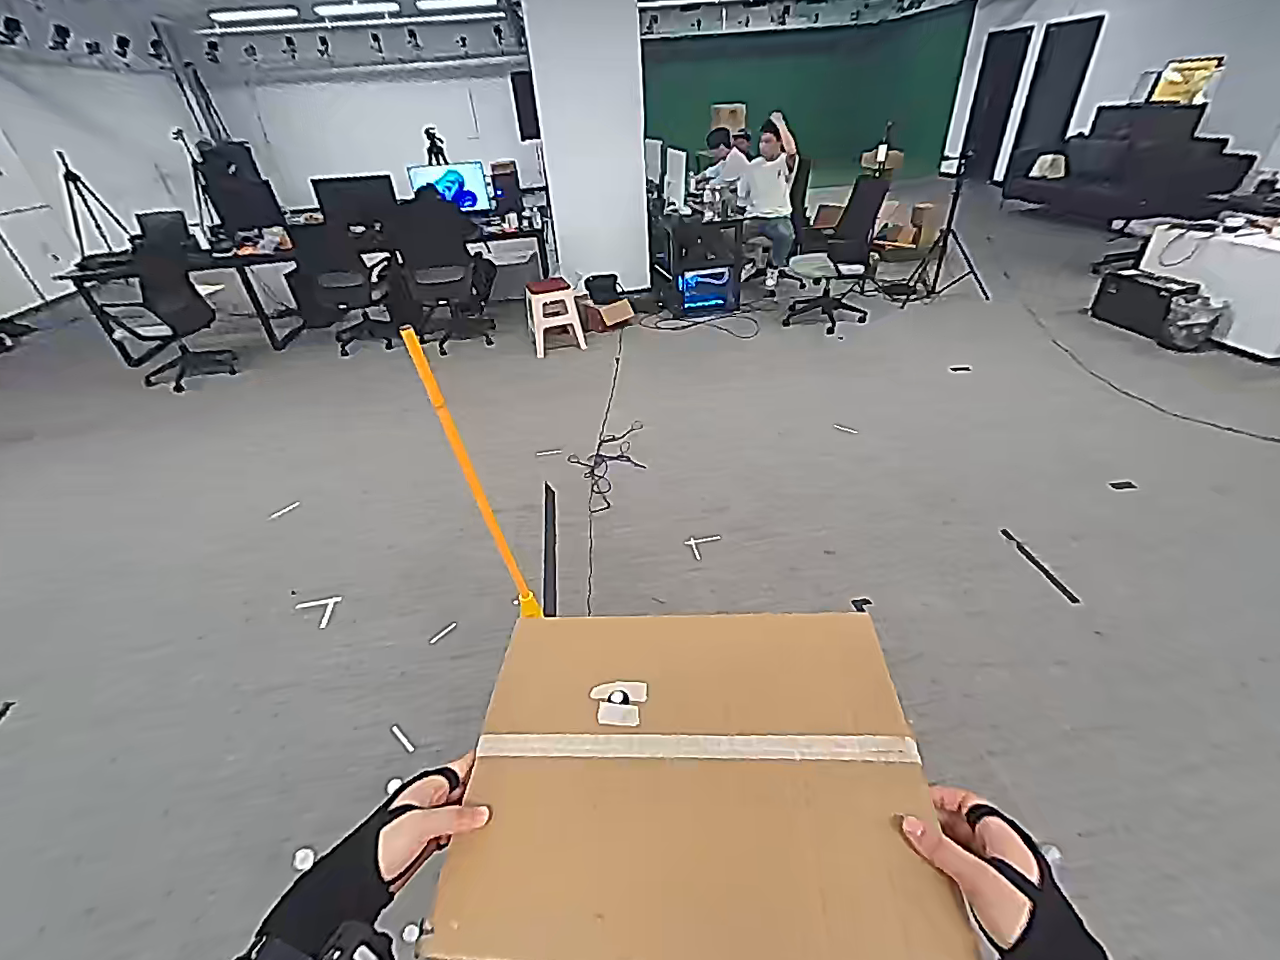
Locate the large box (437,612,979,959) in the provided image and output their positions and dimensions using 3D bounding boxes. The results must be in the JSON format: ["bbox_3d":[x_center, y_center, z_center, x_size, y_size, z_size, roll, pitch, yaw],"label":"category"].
[{"bbox_3d":[0.069,0.375,0.597,0.408,0.320,0.320,-5,35,8],"label":"large box"}]
